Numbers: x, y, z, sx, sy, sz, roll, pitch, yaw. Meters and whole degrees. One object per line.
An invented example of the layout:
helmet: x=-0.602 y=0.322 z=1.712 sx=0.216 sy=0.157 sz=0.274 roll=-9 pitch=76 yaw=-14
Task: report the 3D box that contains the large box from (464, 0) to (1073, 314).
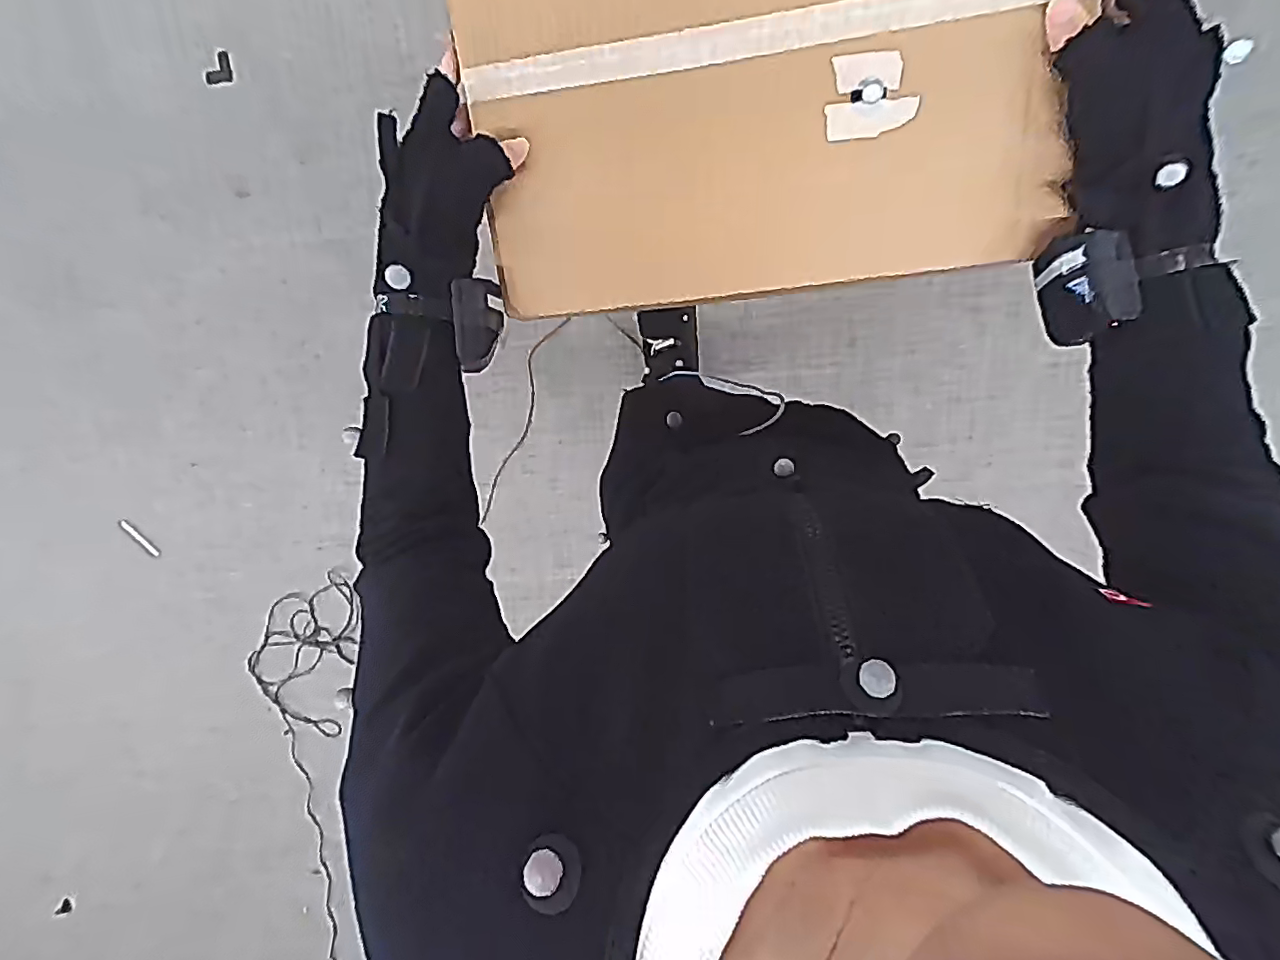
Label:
large box: x=0.091 y=-0.341 z=0.508 sx=0.408 sy=0.320 sz=0.320 roll=-5 pitch=107 yaw=6
